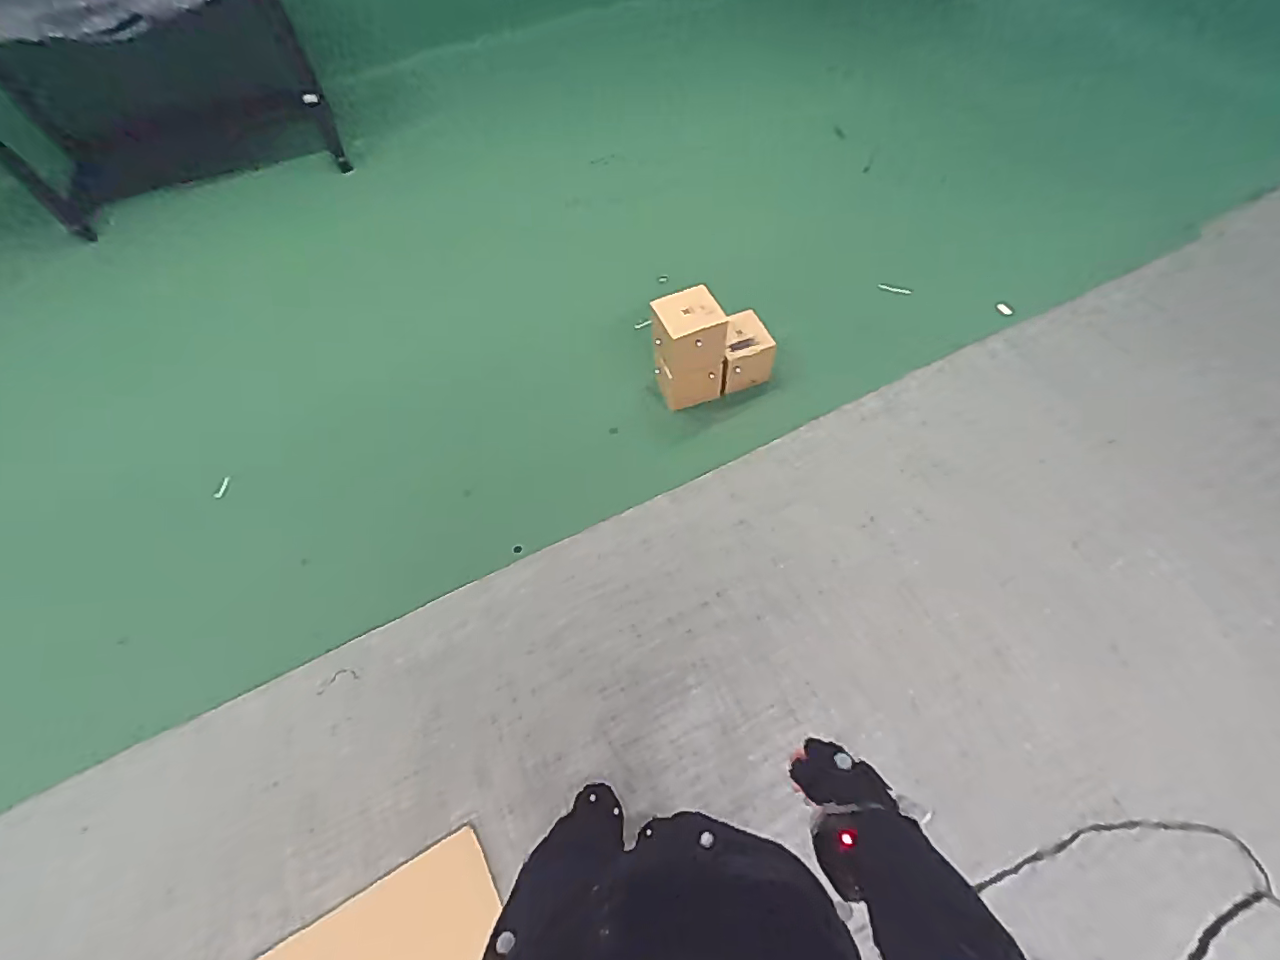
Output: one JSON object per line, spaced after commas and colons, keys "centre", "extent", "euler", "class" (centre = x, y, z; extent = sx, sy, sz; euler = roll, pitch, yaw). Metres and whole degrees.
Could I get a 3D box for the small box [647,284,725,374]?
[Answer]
{"centre": [0.135, -0.443, 1.611], "extent": [0.179, 0.176, 0.168], "euler": [-21, 61, -9], "class": "small box"}
